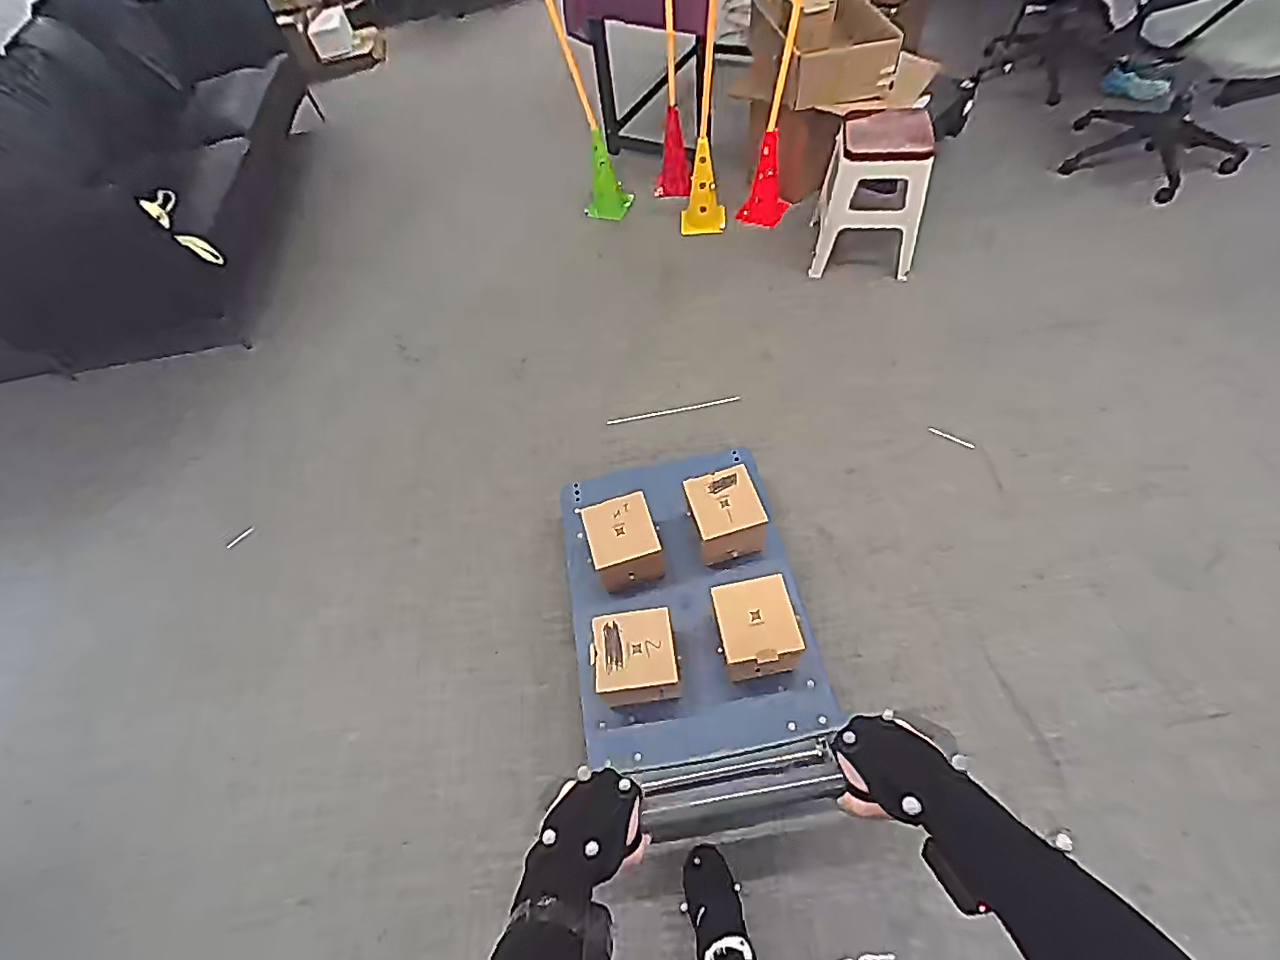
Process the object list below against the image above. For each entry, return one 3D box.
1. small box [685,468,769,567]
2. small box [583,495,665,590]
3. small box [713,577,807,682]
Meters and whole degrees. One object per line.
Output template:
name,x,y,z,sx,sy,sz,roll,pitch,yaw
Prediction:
small box,0.221,0.101,1.402,0.168,0.176,0.179,-16,58,-2
small box,-0.037,0.170,1.395,0.168,0.176,0.179,-16,58,-3
small box,0.266,0.347,1.244,0.168,0.176,0.179,-12,58,1
